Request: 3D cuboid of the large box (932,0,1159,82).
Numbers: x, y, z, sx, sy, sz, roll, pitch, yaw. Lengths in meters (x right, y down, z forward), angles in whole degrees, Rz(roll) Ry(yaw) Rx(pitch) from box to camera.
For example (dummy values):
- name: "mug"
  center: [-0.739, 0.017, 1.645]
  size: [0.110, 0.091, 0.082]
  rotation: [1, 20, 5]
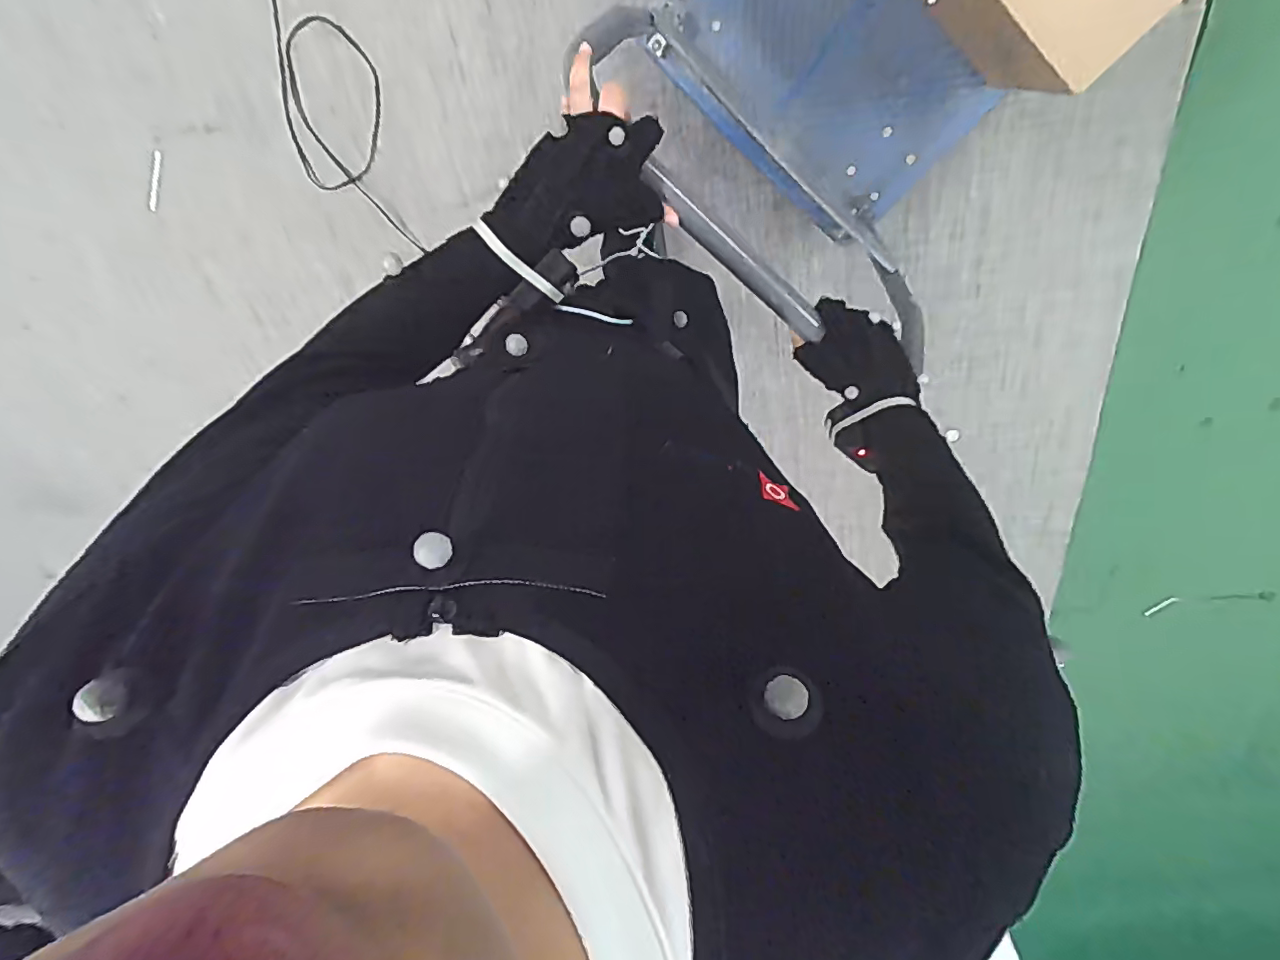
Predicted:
- name: "large box"
  center: [0.519, -0.802, 0.684]
  size: [0.408, 0.320, 0.320]
  rotation: [34, 127, -16]
